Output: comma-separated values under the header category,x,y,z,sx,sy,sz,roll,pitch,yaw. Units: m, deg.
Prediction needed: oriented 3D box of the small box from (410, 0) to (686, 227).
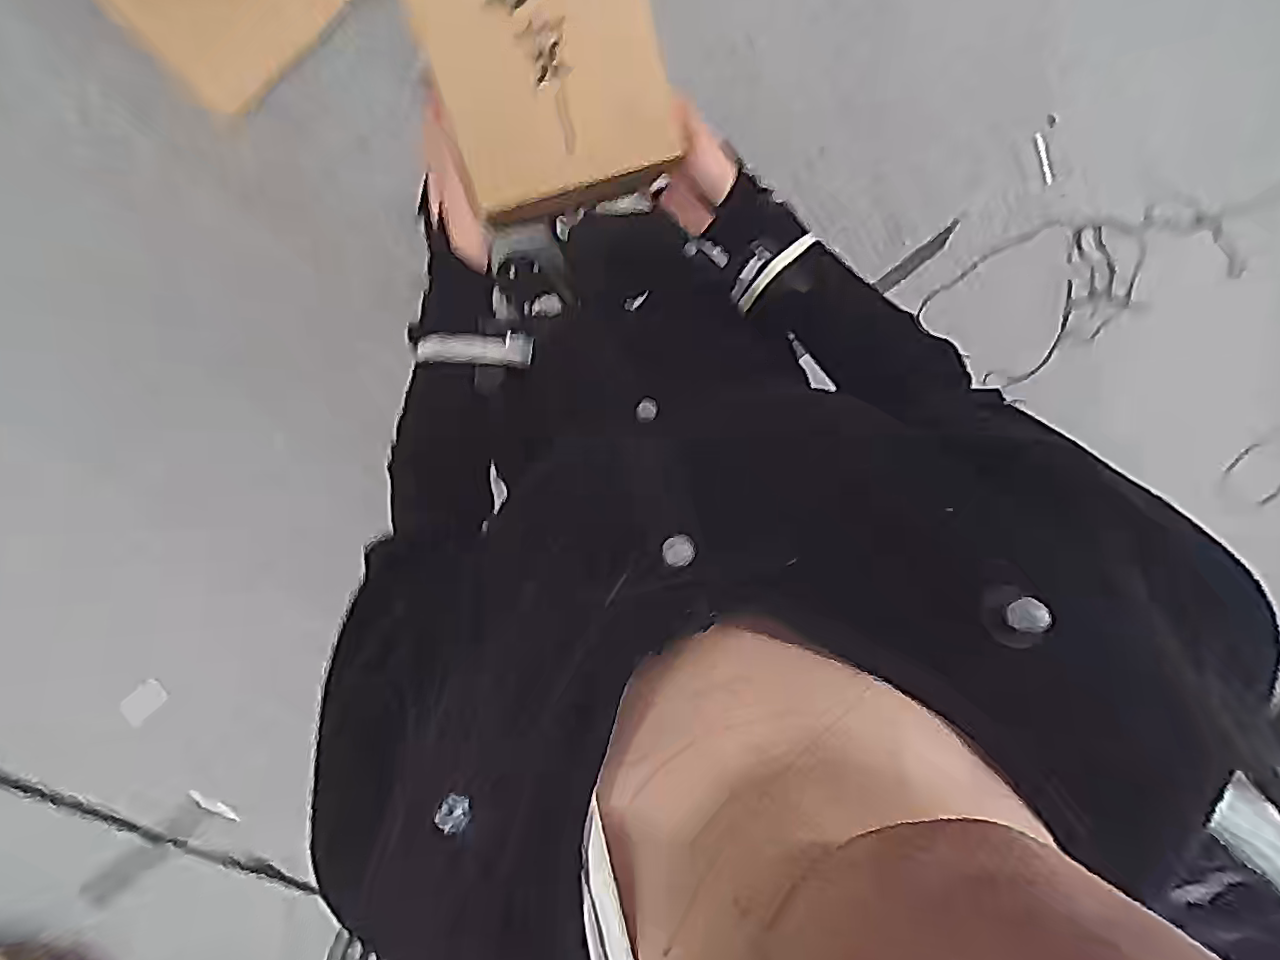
category,x,y,z,sx,sy,sz,roll,pitch,yaw
small box,-0.078,-0.328,0.445,0.168,0.176,0.179,-18,112,-4
